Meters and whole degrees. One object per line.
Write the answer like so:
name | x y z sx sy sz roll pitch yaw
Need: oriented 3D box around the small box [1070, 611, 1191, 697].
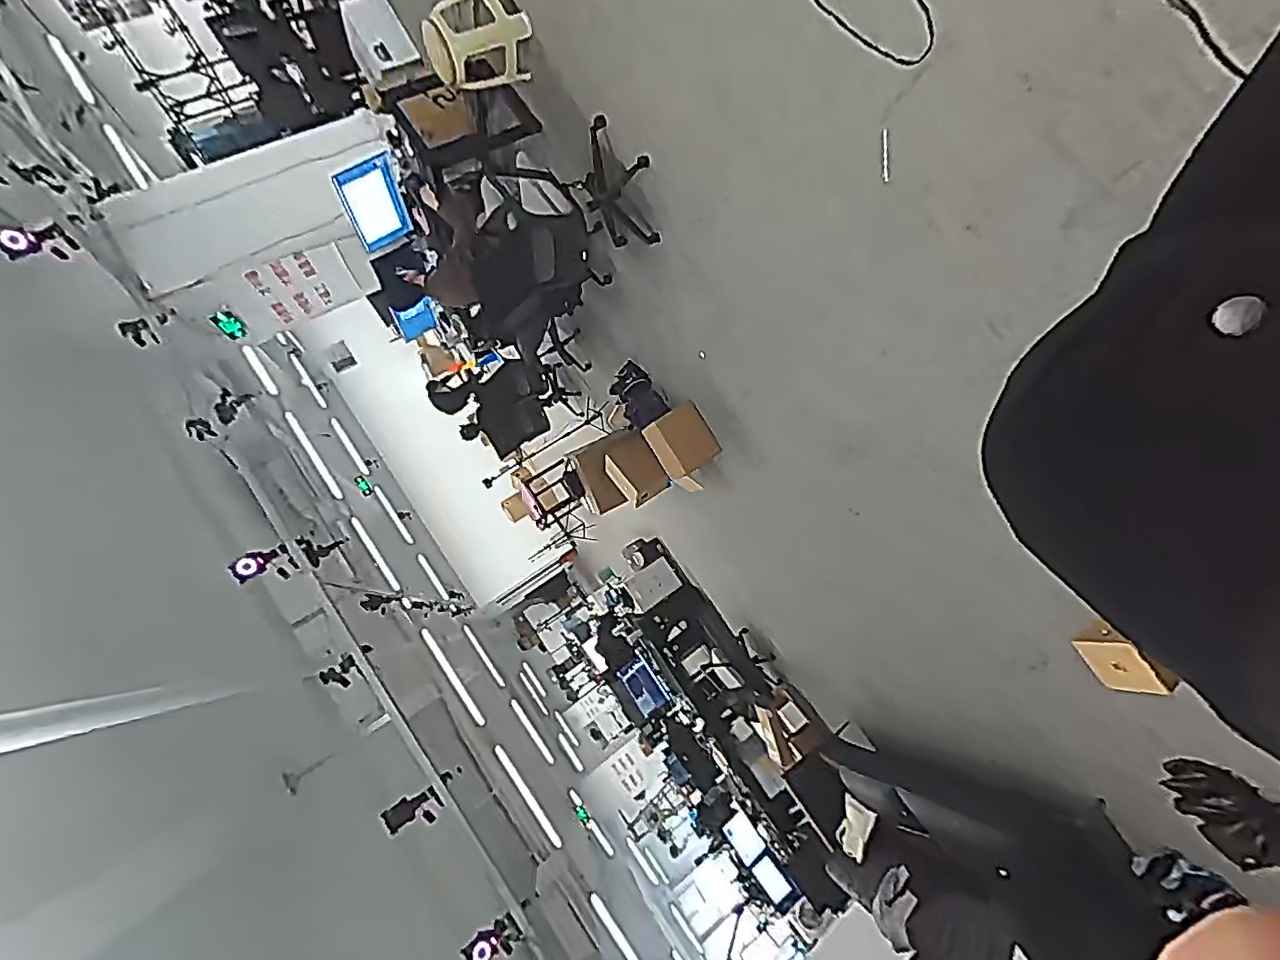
small box | 1.408 0.489 1.546 0.168 0.176 0.179 55 165 7
